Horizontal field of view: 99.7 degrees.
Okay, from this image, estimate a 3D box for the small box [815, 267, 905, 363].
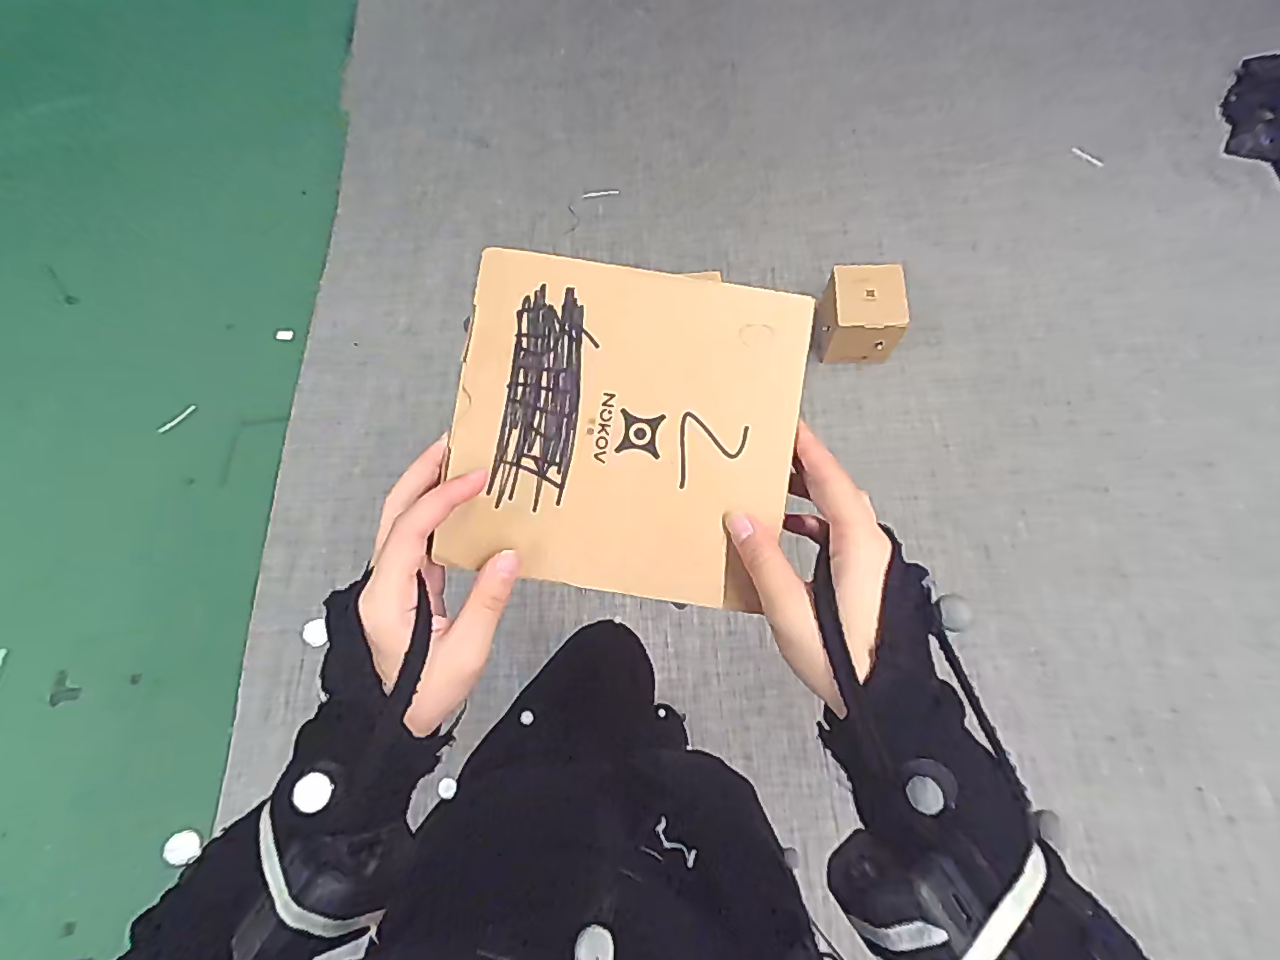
[{"bbox_3d":[0.547,-0.410,1.365,0.168,0.176,0.179,1,70,4],"label":"small box"}]
